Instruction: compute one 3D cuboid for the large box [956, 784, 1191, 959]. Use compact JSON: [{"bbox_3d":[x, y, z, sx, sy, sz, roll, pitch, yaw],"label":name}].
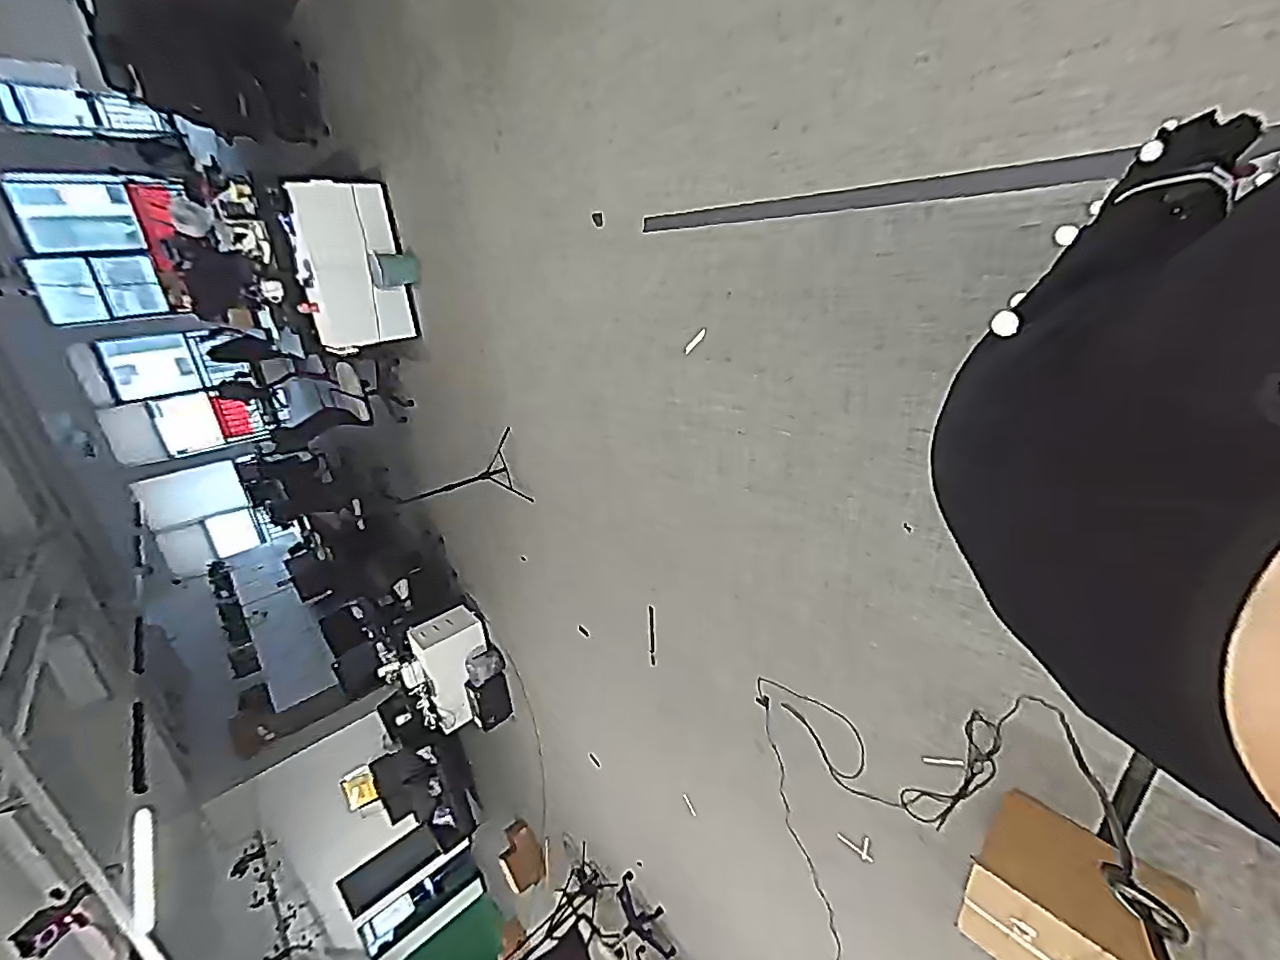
[{"bbox_3d":[1.153,1.142,1.463,0.408,0.320,0.320,22,125,45],"label":"large box"}]
